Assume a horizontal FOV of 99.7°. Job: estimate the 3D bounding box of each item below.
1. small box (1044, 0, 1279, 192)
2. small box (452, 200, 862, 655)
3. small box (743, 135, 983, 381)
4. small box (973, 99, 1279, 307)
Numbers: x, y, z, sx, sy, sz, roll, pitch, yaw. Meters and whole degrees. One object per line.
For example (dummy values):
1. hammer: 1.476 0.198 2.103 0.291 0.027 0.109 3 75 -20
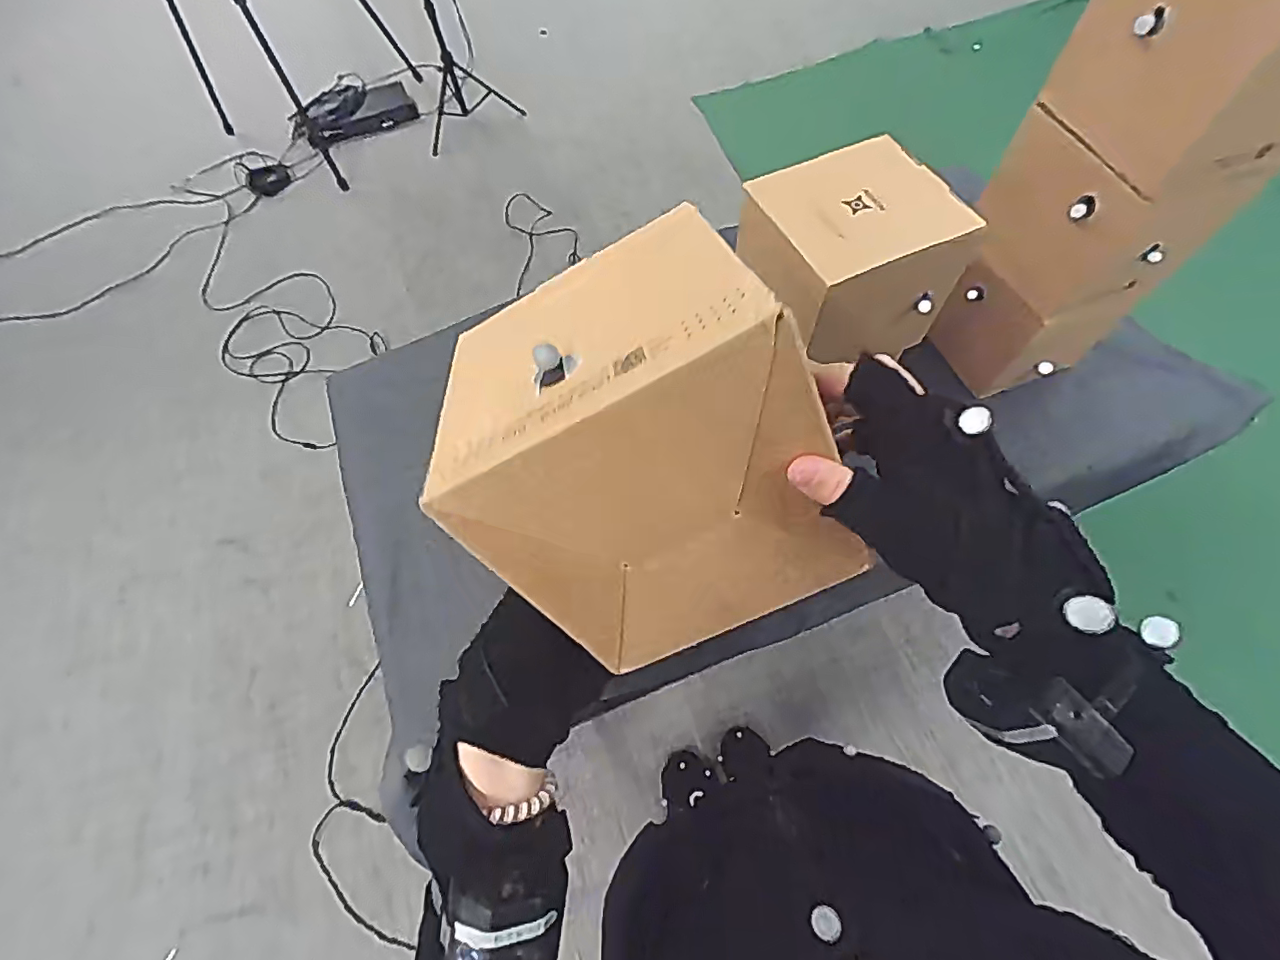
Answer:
1. small box: 0.519 -0.396 0.479 0.168 0.176 0.179 -17 64 -3
2. small box: 0.010 -0.024 0.322 0.168 0.179 0.176 -26 39 11
3. small box: 0.224 -0.238 0.609 0.179 0.176 0.168 -22 64 -6
4. small box: 0.532 -0.326 0.627 0.168 0.176 0.179 -18 64 -5
